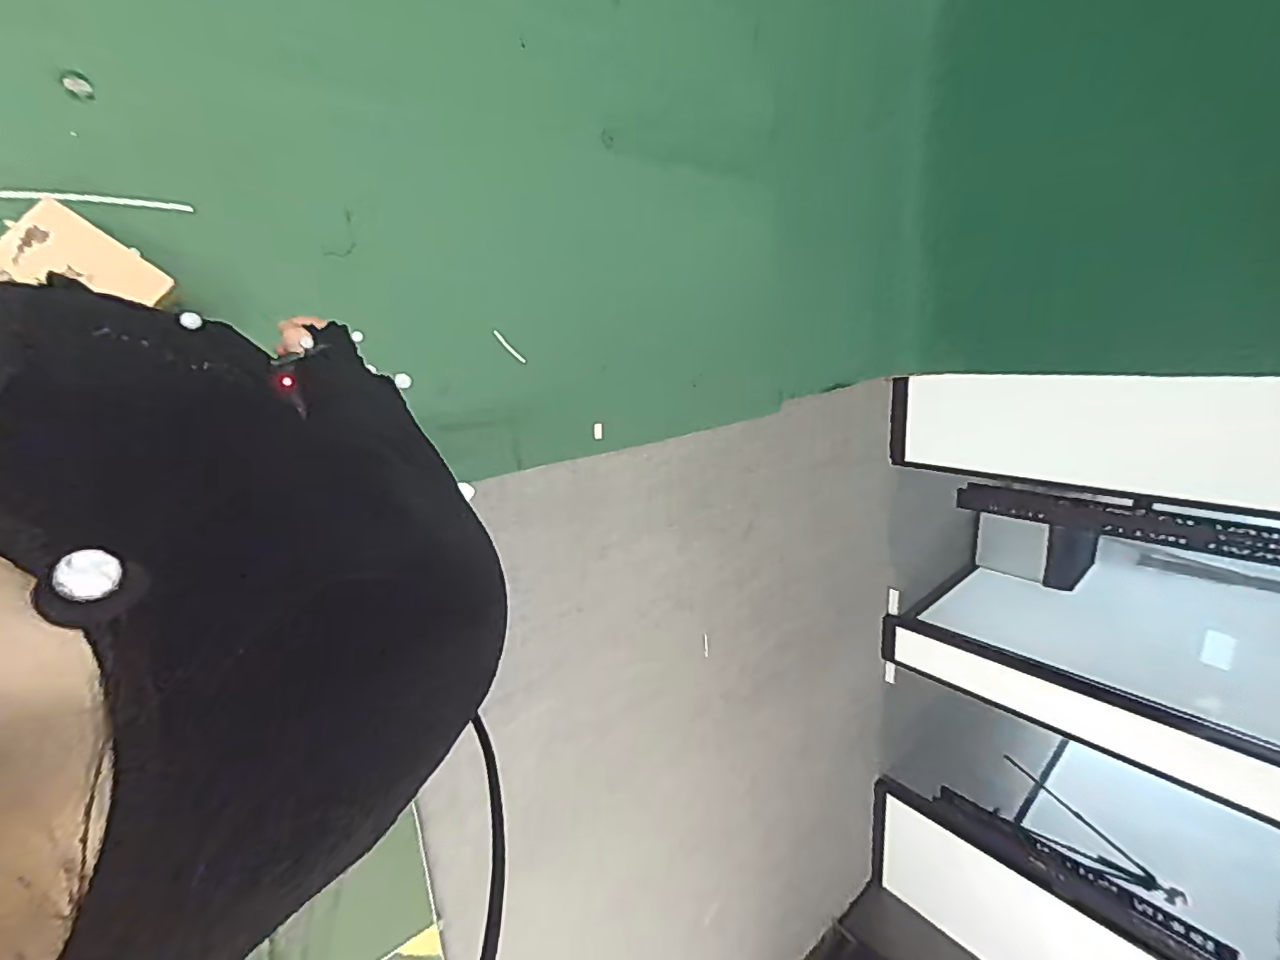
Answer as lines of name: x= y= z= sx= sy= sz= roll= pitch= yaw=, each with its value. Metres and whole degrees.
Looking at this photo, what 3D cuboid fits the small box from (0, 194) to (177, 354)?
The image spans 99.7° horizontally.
small box: x=-0.911 y=-0.327 z=0.888 sx=0.179 sy=0.176 sz=0.168 roll=42 pitch=72 yaw=-38
